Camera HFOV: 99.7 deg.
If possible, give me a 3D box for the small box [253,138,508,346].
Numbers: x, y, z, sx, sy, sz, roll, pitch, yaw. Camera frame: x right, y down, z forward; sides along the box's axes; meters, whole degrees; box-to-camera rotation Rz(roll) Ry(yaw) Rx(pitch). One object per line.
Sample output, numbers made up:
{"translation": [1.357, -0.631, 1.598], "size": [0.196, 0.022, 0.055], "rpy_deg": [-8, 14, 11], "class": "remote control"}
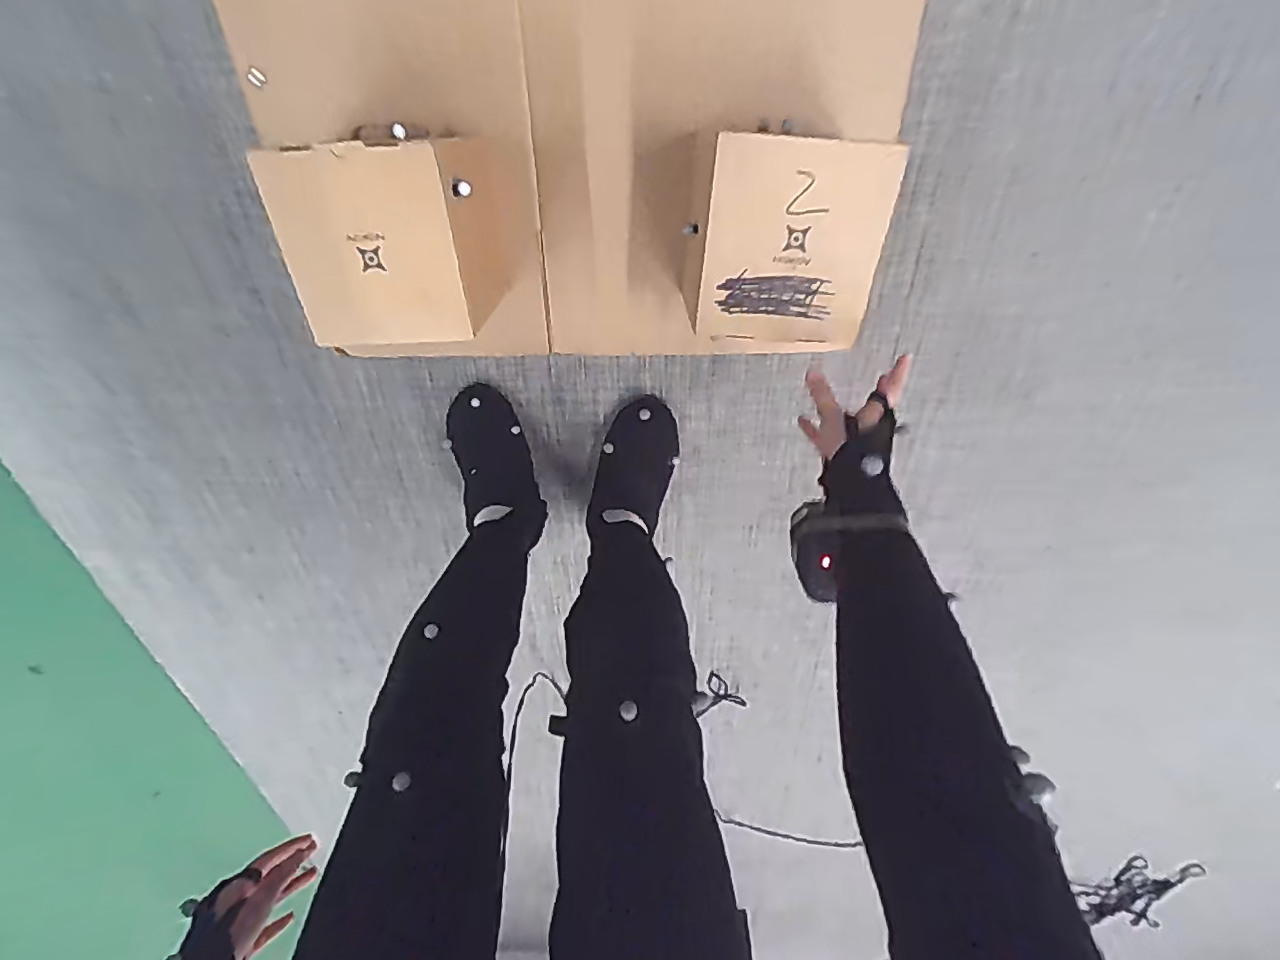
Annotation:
{"translation": [-0.247, -0.255, 0.571], "size": [0.168, 0.176, 0.179], "rpy_deg": [-2, 122, 1], "class": "small box"}
